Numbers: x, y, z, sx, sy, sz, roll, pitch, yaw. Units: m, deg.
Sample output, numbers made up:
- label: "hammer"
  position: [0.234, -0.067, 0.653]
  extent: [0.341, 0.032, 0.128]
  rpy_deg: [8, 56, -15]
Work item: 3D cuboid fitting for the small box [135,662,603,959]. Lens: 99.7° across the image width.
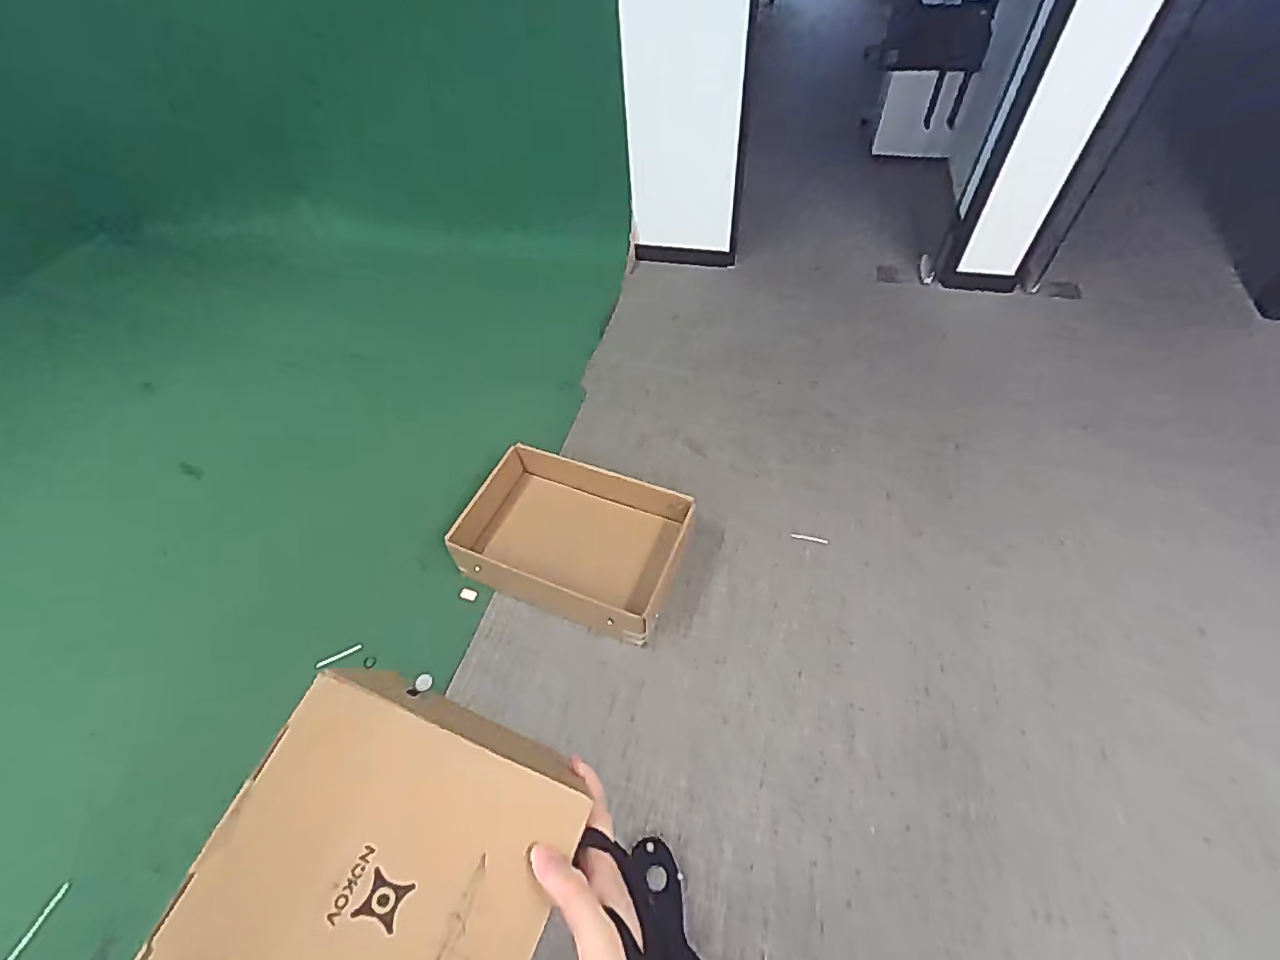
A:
- label: "small box"
  position: [-0.151, 0.240, 0.358]
  extent: [0.179, 0.176, 0.168]
  rpy_deg: [30, 66, -4]
